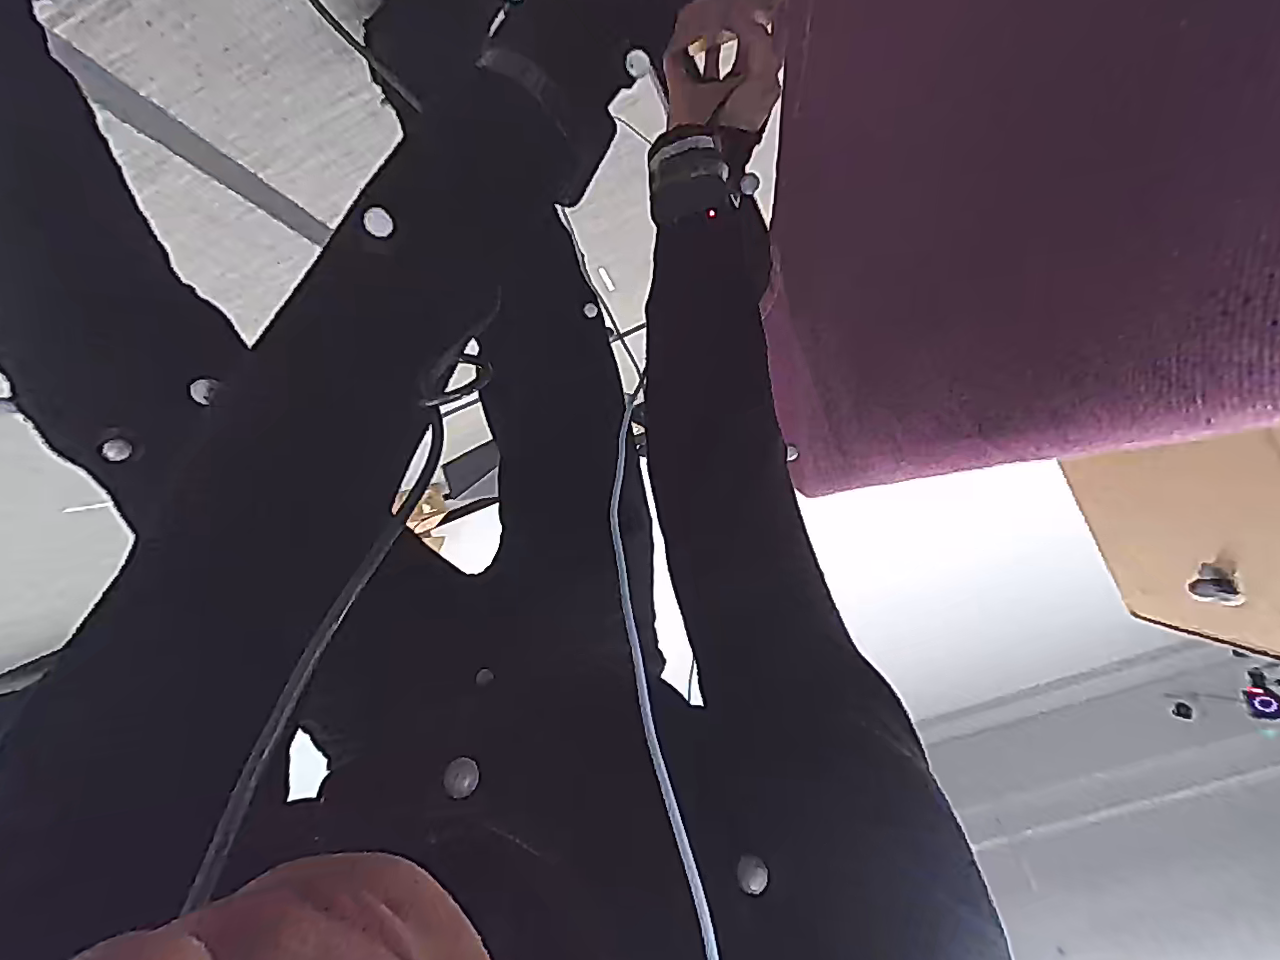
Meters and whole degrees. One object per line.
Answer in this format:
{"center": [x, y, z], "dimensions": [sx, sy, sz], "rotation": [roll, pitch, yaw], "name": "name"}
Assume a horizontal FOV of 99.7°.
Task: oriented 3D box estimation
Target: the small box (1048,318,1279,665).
{"center": [0.395, -0.006, 0.320], "dimensions": [0.168, 0.176, 0.179], "rotation": [-22, 175, 9], "name": "small box"}
